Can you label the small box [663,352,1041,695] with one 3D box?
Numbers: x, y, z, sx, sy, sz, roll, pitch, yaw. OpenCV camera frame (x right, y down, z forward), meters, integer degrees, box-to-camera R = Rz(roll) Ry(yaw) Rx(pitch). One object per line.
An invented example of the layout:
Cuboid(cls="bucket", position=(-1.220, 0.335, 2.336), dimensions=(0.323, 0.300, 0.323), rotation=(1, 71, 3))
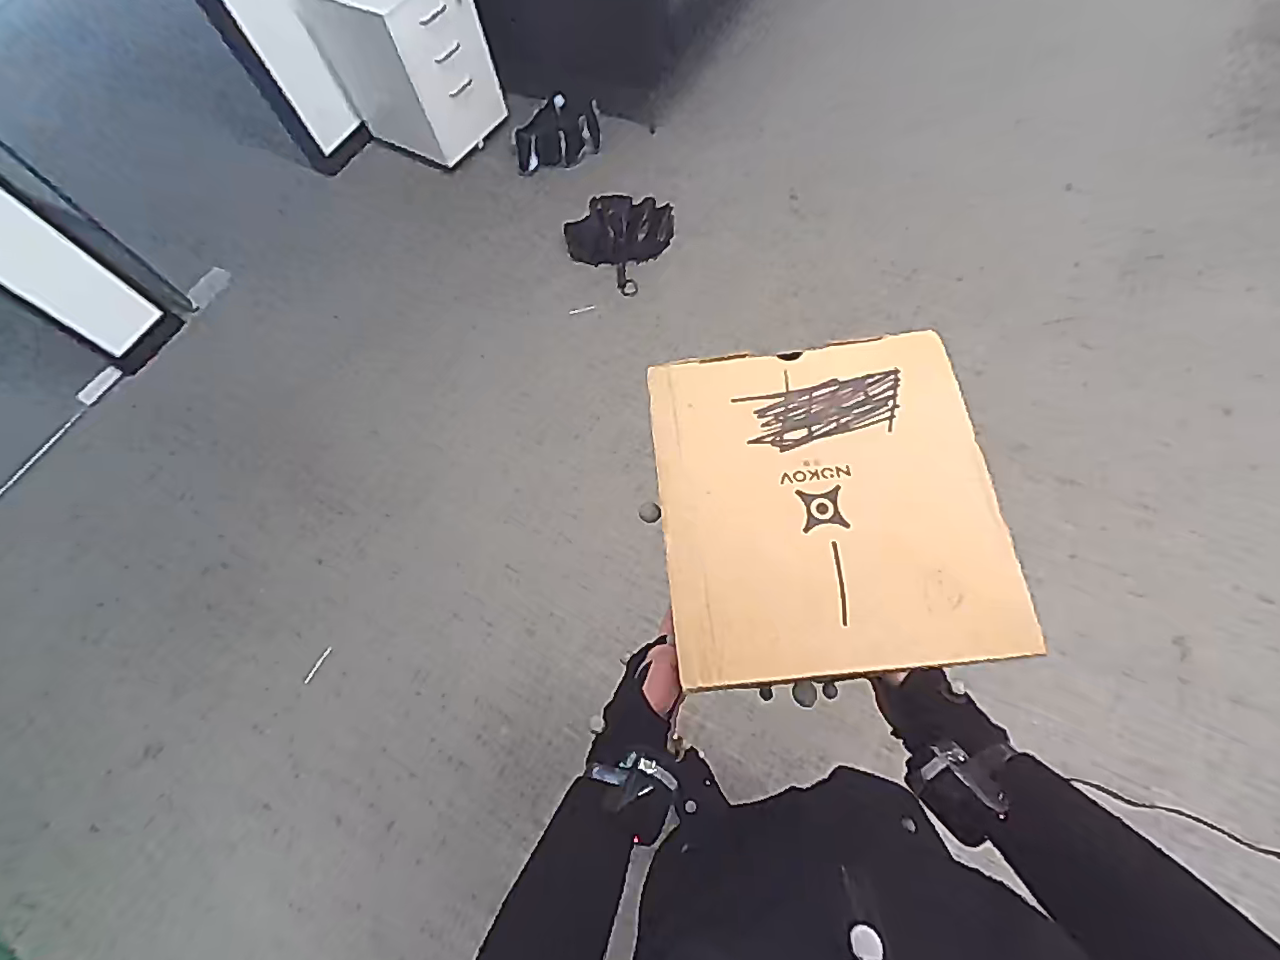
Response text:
Cuboid(cls="small box", position=(0.105, 0.043, 0.357), dimensions=(0.168, 0.176, 0.179), rotation=(-6, 70, 4))
